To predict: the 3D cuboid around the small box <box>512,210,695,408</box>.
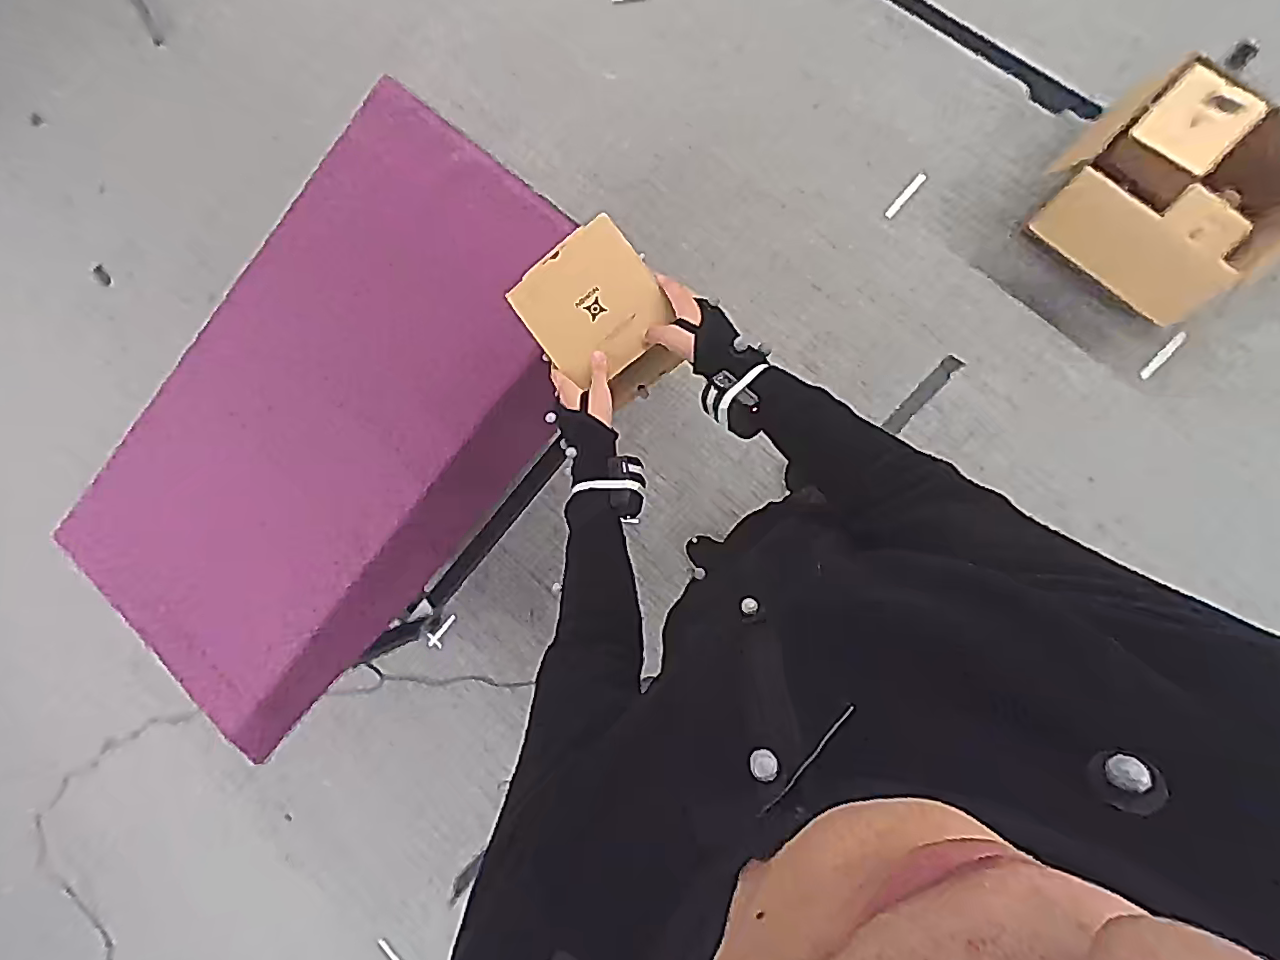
[{"bbox_3d":[-0.040,-0.220,0.751,0.168,0.176,0.179,-36,84,8],"label":"small box"}]
